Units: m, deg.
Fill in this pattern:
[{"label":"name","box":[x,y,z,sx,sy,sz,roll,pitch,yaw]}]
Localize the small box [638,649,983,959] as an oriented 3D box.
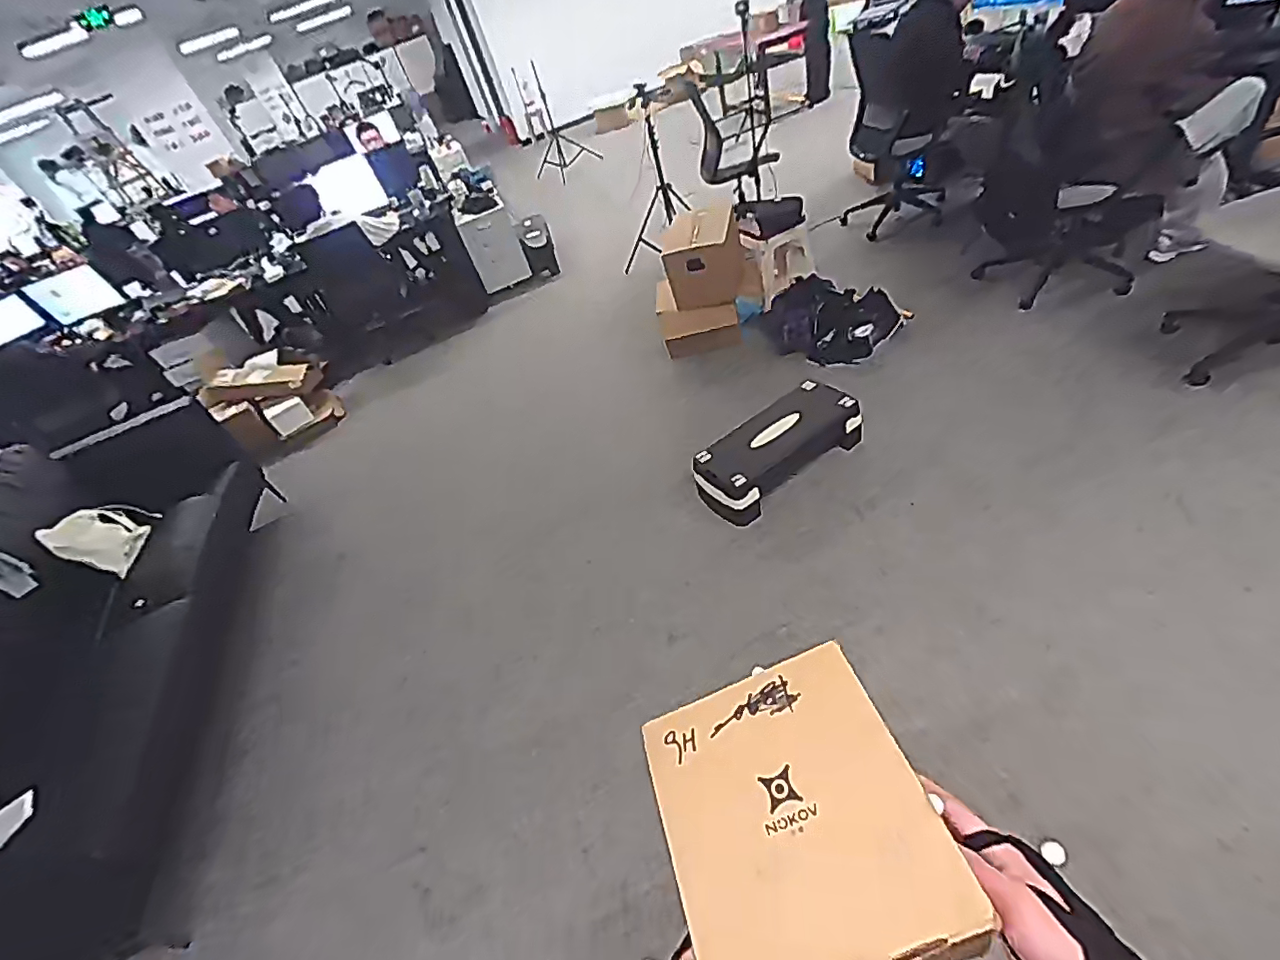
[{"label":"small box","box":[0.120,0.266,0.407,0.168,0.176,0.179,-25,43,4]}]
